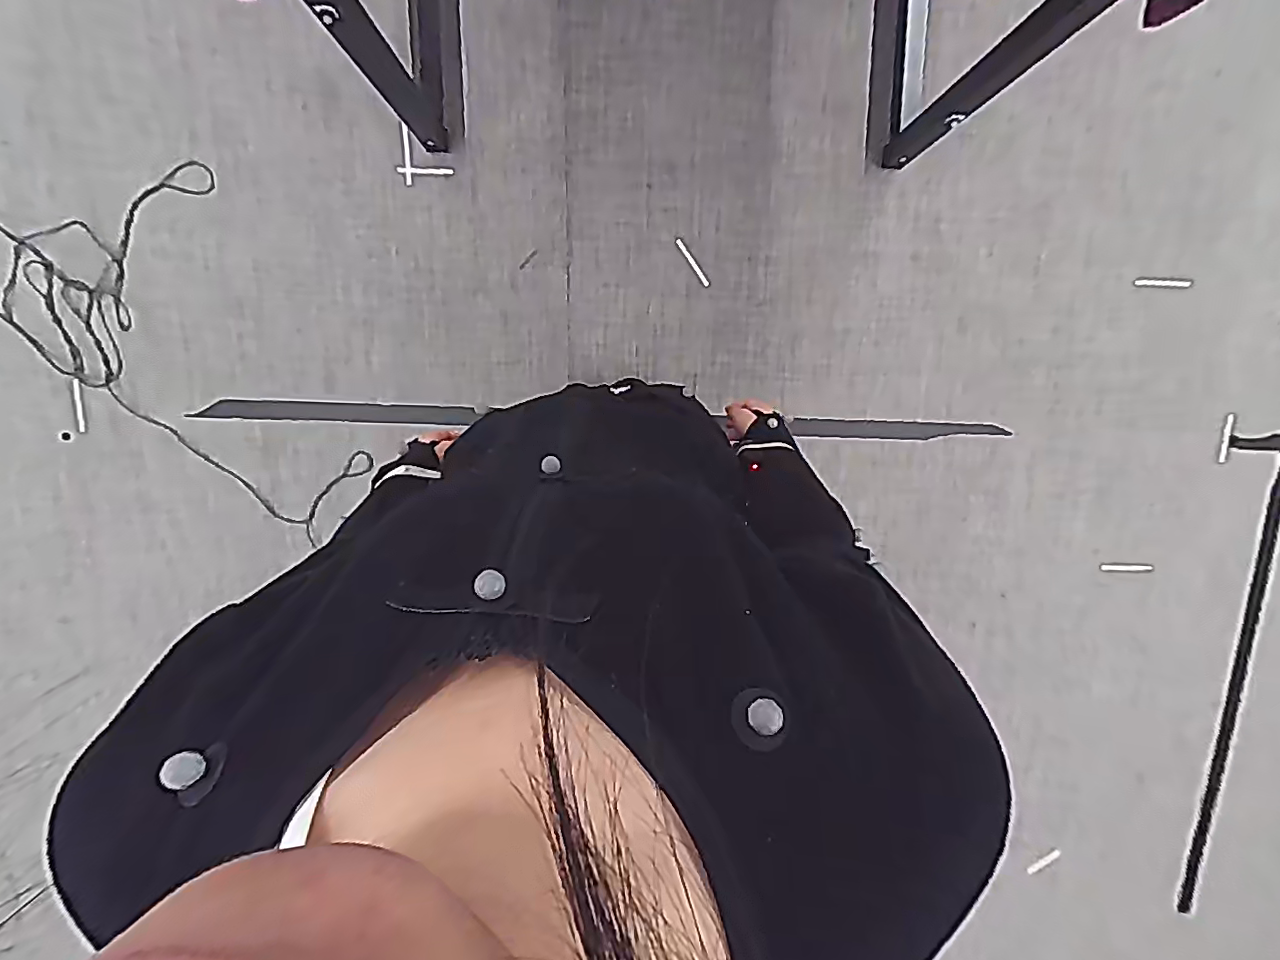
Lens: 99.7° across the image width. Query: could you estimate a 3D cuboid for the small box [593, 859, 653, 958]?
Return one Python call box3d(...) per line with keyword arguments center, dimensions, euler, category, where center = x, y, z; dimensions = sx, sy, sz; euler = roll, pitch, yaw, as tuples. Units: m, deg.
box3d(center=(-0.053, 1.287, 1.631), dimensions=(0.168, 0.176, 0.179), euler=(3, 100, -2), category="small box")
